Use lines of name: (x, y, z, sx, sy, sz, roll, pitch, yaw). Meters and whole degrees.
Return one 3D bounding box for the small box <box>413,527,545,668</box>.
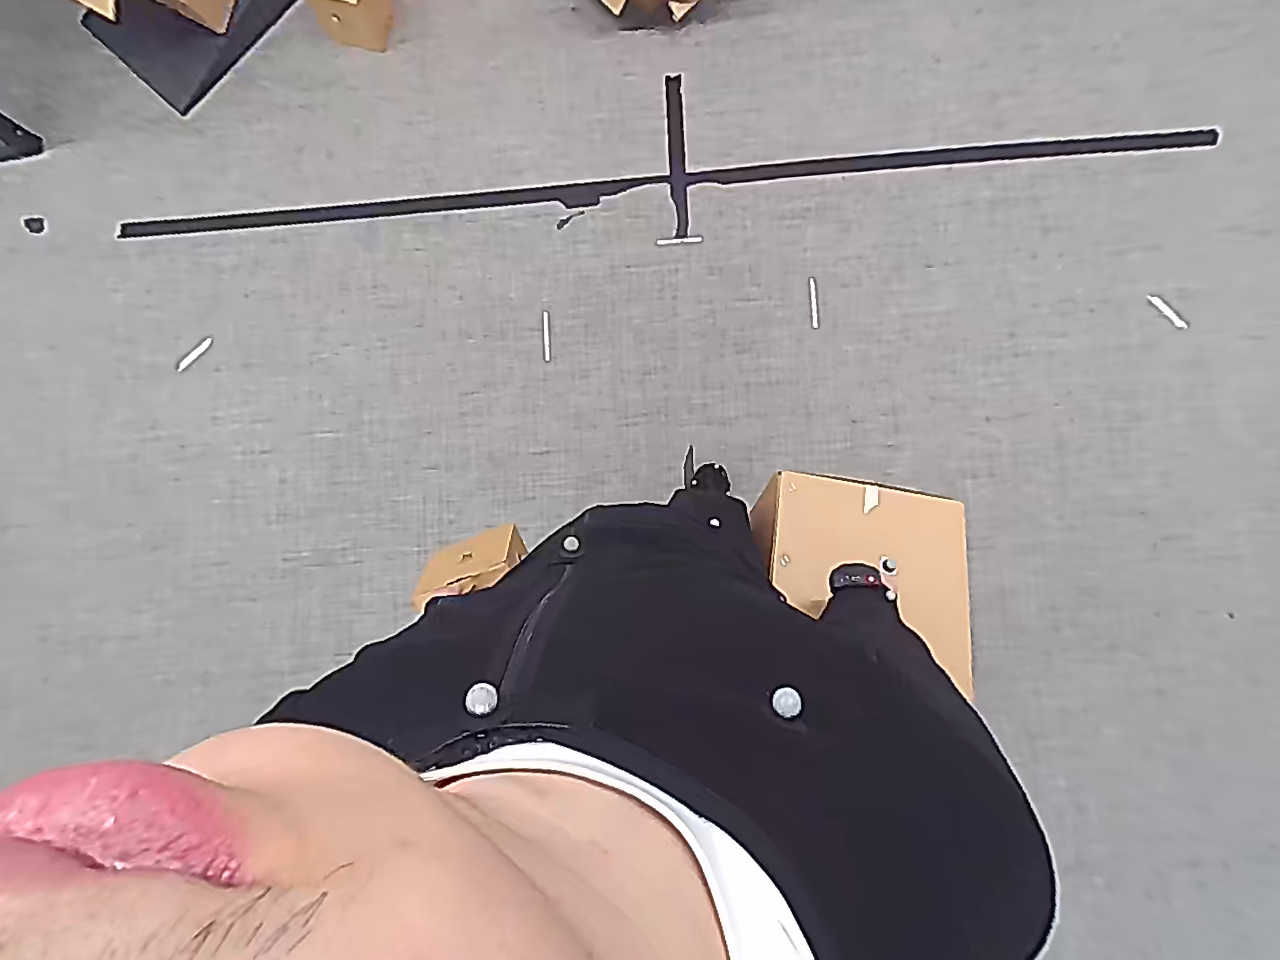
small box: (-0.280, 0.216, 0.984, 0.168, 0.179, 0.176, -20, 109, -1)
